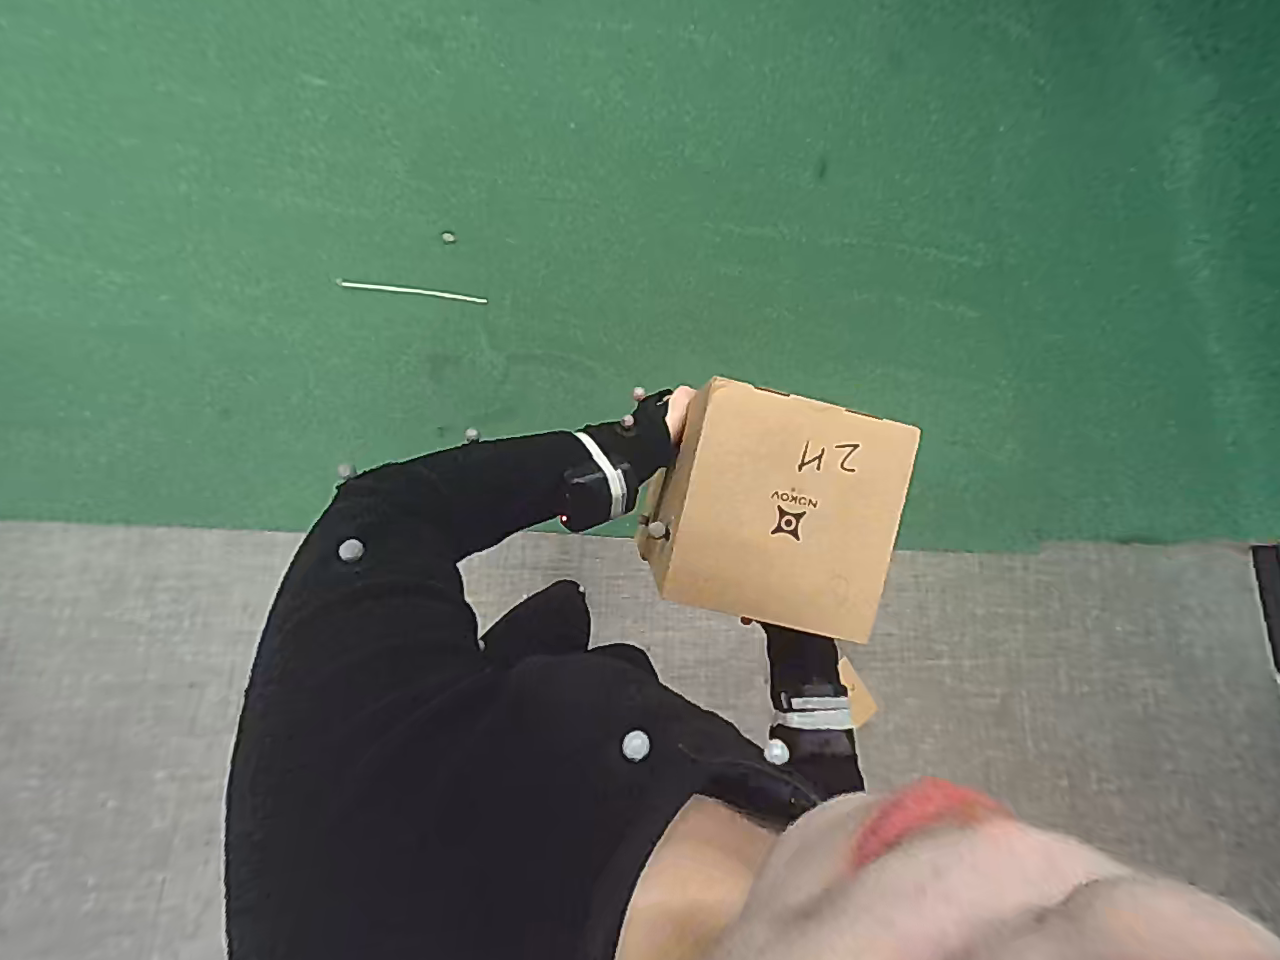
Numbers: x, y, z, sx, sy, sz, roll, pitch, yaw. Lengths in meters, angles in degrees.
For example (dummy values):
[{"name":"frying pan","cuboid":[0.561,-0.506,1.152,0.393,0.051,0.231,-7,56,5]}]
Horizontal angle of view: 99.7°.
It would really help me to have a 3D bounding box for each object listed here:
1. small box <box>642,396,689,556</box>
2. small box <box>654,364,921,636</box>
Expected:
[{"name":"small box","cuboid":[0.100,0.011,0.650,0.168,0.176,0.179,14,92,-2]},{"name":"small box","cuboid":[0.111,0.015,0.484,0.168,0.176,0.179,13,90,-3]}]
